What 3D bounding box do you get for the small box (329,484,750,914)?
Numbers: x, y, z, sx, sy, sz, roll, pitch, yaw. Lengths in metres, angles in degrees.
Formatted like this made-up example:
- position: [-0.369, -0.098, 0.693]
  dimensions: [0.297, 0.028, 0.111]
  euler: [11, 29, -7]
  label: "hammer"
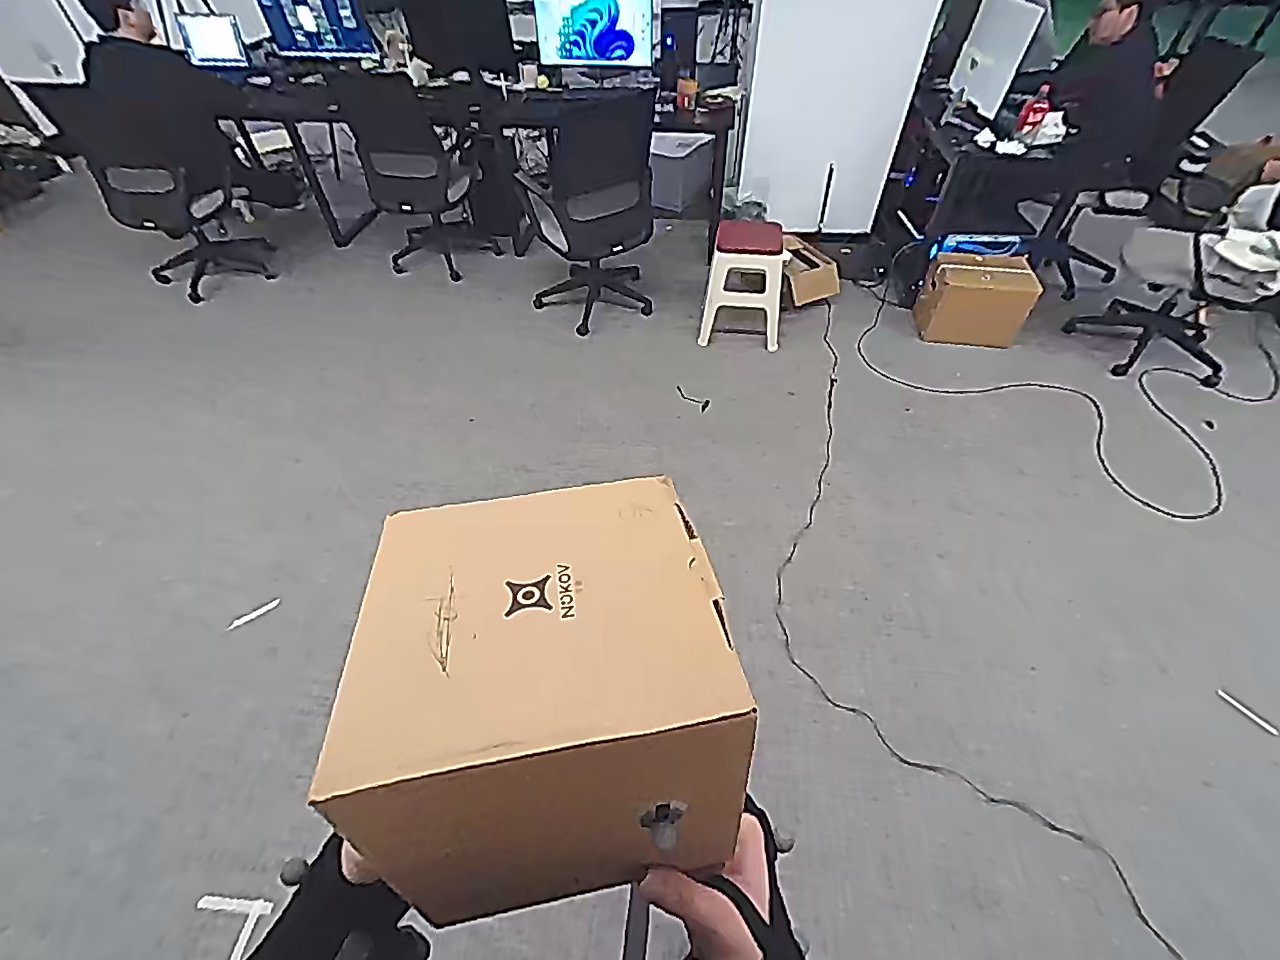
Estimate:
- position: [-0.048, 0.127, 0.332]
  dimensions: [0.179, 0.176, 0.168]
  euler: [-9, 38, -7]
  label: "small box"
